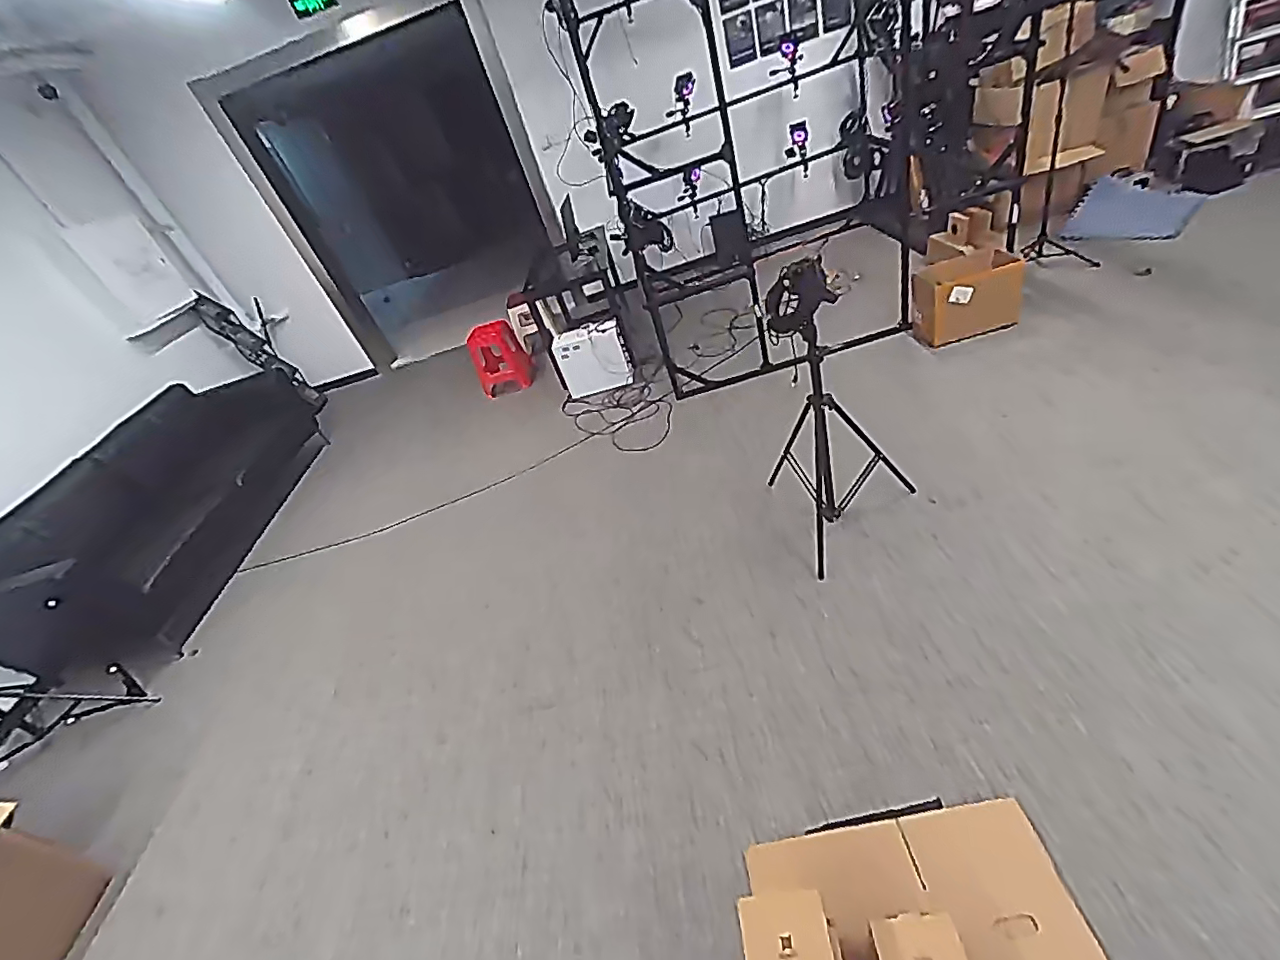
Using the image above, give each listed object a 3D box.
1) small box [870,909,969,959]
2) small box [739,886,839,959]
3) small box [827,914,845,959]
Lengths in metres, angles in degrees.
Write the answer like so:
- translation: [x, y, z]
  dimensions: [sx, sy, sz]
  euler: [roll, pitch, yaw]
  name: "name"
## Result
- translation: [0.577, 1.008, 1.096]
  dimensions: [0.168, 0.176, 0.179]
  euler: [-13, 37, 9]
  name: "small box"
- translation: [0.298, 0.930, 1.055]
  dimensions: [0.168, 0.176, 0.179]
  euler: [-15, 37, 10]
  name: "small box"
- translation: [0.357, 1.056, 1.145]
  dimensions: [0.168, 0.176, 0.179]
  euler: [-15, 37, 10]
  name: "small box"
